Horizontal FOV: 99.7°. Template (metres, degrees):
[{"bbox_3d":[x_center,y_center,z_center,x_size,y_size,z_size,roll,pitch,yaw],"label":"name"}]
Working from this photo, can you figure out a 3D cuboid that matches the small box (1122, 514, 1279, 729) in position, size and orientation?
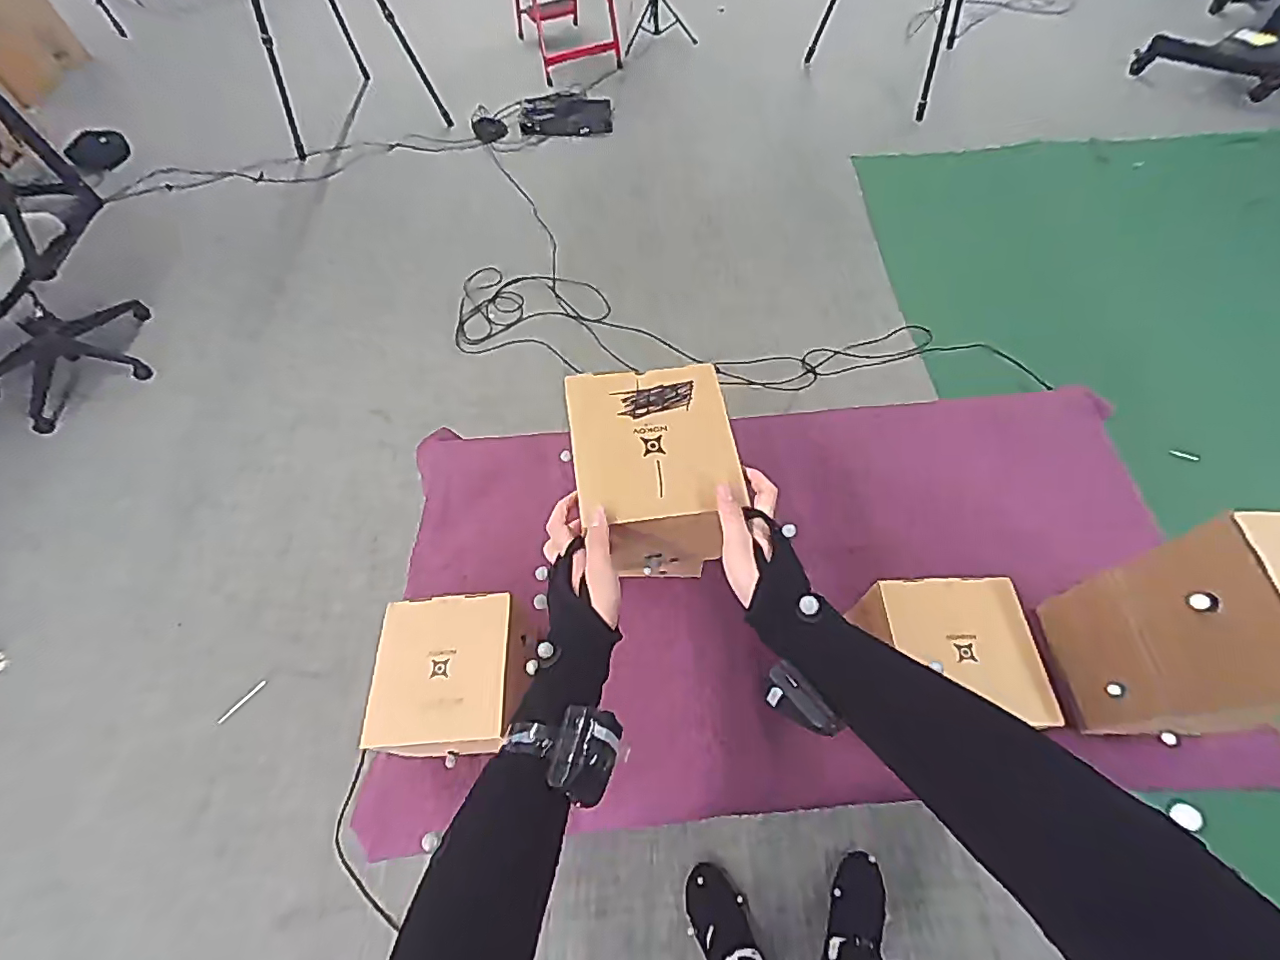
[{"bbox_3d":[0.659,0.149,0.552,0.168,0.176,0.179,-1,59,4],"label":"small box"}]

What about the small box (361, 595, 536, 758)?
[{"bbox_3d":[-0.240,0.269,0.731,0.168,0.176,0.179,-4,59,1],"label":"small box"}]

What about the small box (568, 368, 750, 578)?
[{"bbox_3d":[0.009,-0.002,0.617,0.168,0.176,0.179,-7,65,-6],"label":"small box"}]

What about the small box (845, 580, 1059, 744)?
[{"bbox_3d":[0.385,0.244,0.708,0.168,0.176,0.179,-3,58,3],"label":"small box"}]
